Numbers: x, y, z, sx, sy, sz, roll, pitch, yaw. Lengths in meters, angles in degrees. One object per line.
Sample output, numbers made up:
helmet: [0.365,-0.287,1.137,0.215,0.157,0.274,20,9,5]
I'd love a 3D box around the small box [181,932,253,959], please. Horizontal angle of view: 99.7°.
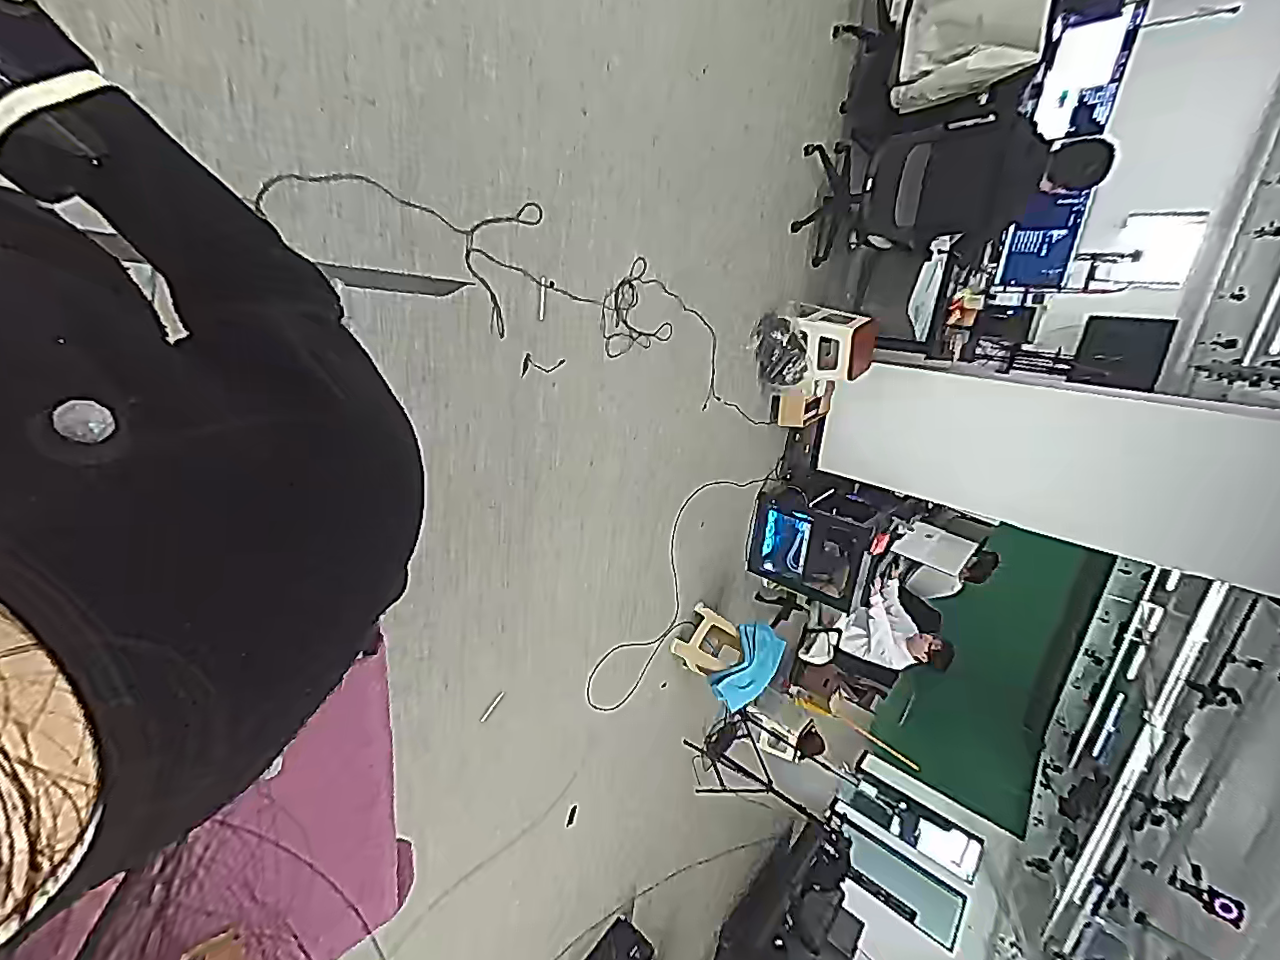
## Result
small box: [-0.628,0.805,0.755,0.168,0.176,0.179,-7,109,-51]
